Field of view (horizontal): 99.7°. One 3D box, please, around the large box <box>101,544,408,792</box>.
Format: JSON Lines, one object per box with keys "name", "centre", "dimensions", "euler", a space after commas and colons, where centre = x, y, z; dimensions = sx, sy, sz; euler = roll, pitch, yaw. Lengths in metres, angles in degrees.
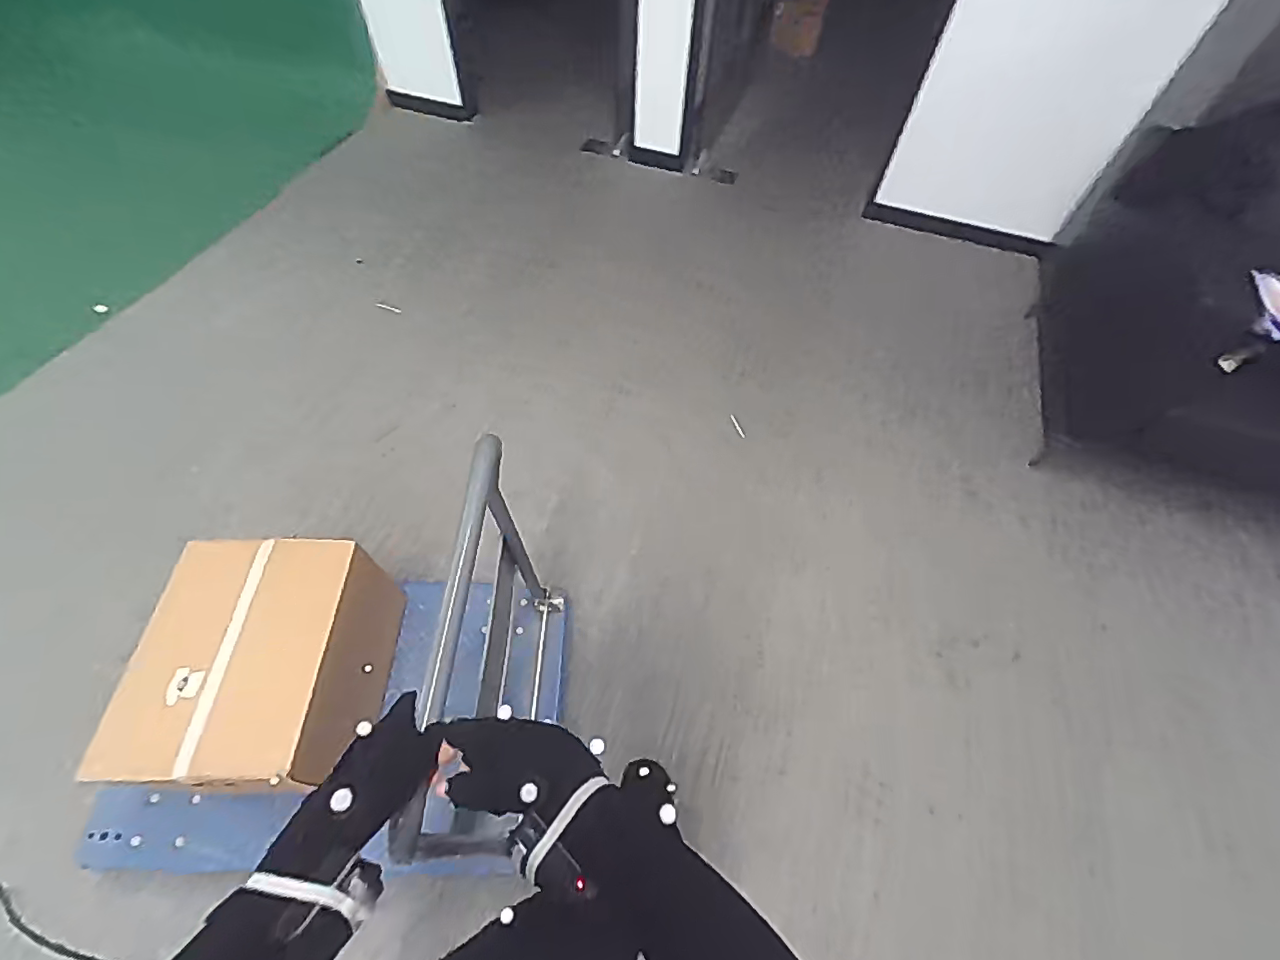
{"name": "large box", "centre": [-0.684, 0.369, 1.057], "dimensions": [0.320, 0.320, 0.408], "euler": [0, 58, -3]}
